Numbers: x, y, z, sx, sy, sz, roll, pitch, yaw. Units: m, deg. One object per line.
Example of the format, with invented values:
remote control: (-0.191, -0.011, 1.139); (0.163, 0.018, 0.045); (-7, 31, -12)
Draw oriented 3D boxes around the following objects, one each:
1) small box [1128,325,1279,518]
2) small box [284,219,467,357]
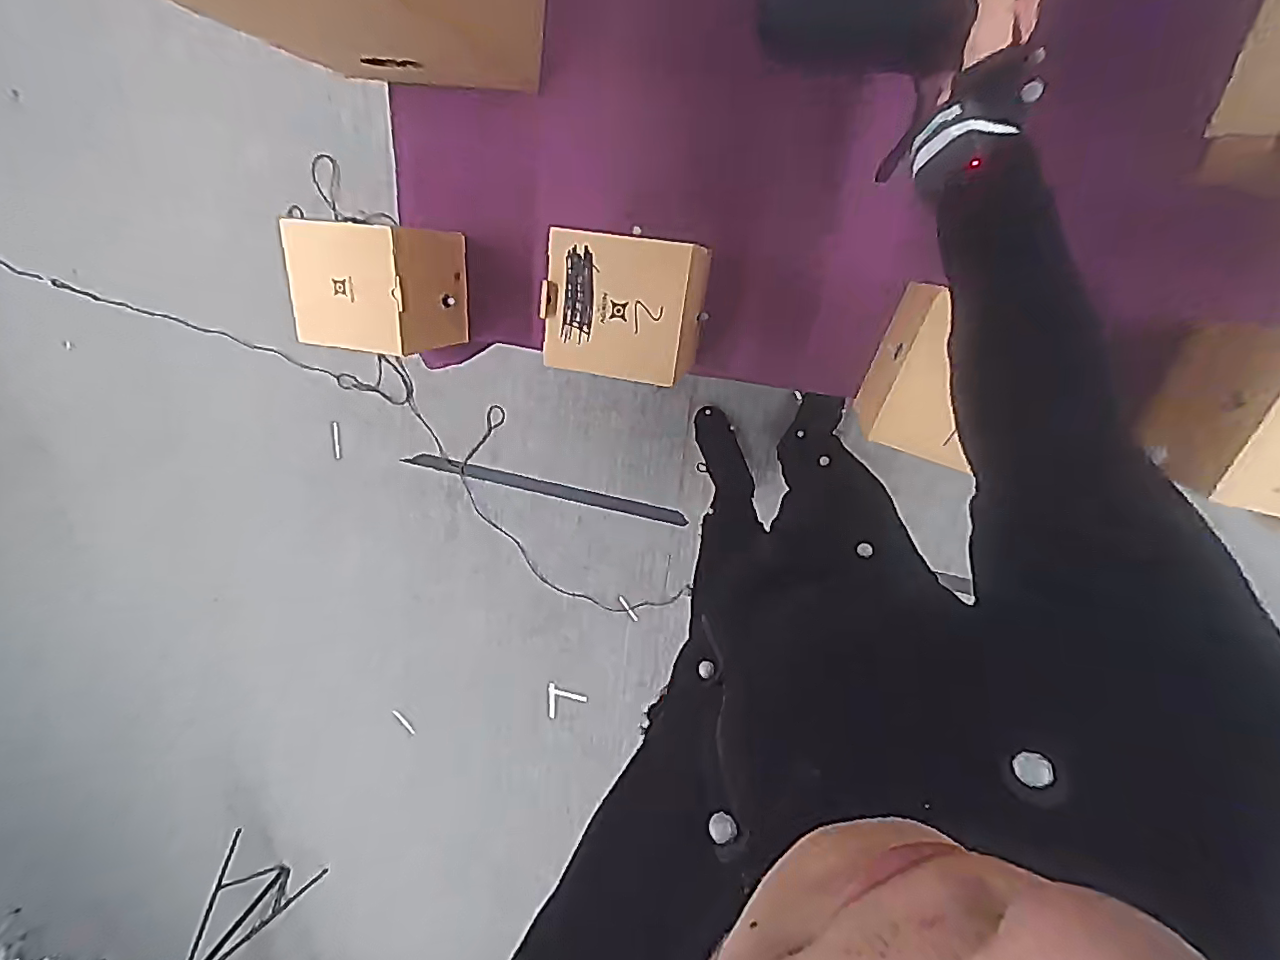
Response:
small box: (0.694, -0.062, 0.585); (0.168, 0.176, 0.179); (17, 113, 10)
small box: (-0.380, -0.285, 0.806); (0.179, 0.176, 0.168); (9, 112, 11)
